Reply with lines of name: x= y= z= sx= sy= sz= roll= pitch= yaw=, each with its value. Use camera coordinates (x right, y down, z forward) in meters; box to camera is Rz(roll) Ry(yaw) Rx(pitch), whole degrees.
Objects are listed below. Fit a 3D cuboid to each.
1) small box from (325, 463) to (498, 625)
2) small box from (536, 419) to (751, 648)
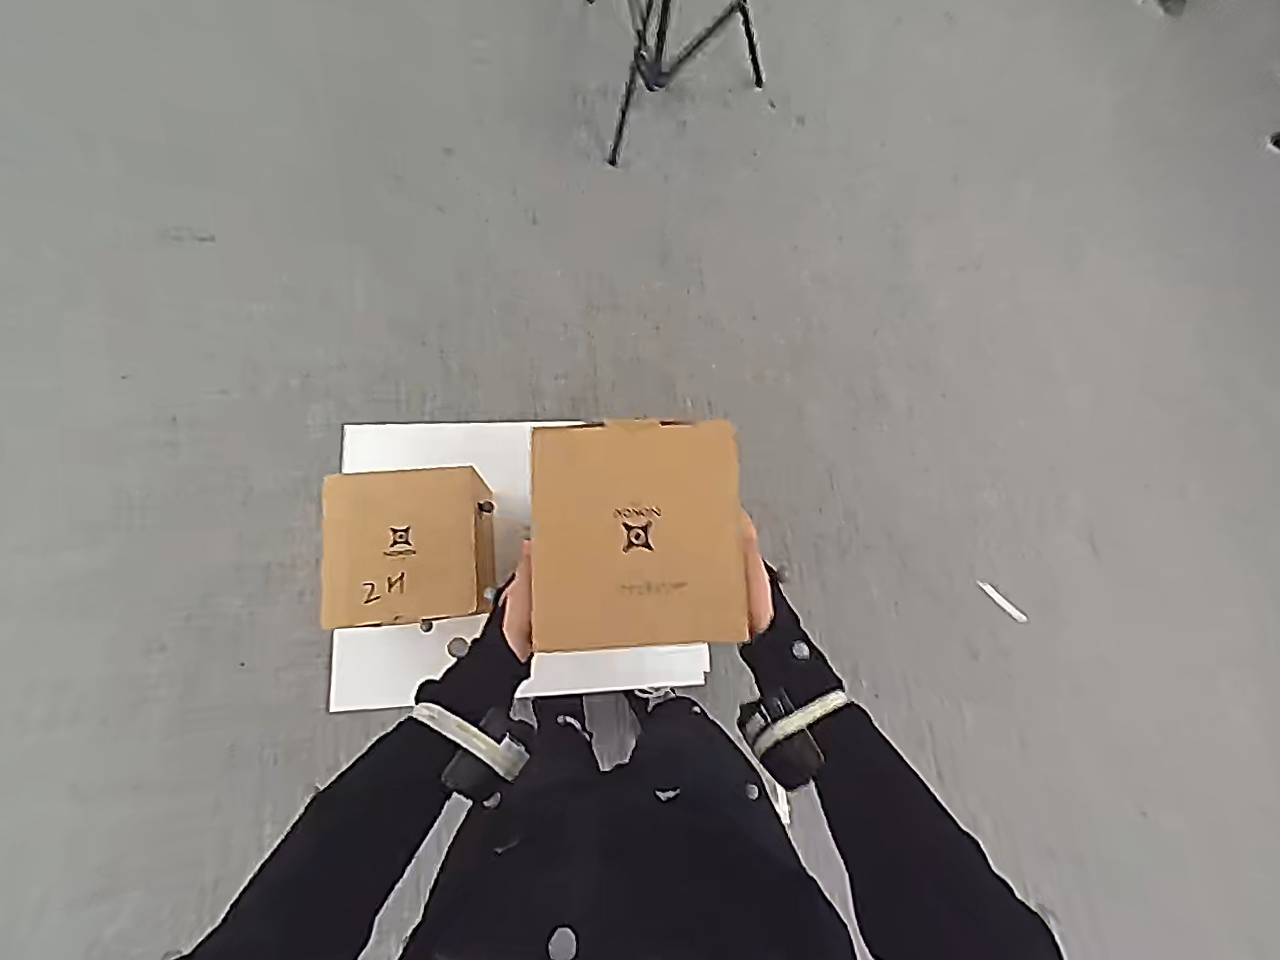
small box: x=-0.276 y=0.086 z=0.688 sx=0.168 sy=0.176 sz=0.179 roll=-4 pitch=79 yaw=-8
small box: x=-0.003 y=0.050 z=0.497 sx=0.168 sy=0.176 sz=0.179 roll=-2 pitch=82 yaw=-3
